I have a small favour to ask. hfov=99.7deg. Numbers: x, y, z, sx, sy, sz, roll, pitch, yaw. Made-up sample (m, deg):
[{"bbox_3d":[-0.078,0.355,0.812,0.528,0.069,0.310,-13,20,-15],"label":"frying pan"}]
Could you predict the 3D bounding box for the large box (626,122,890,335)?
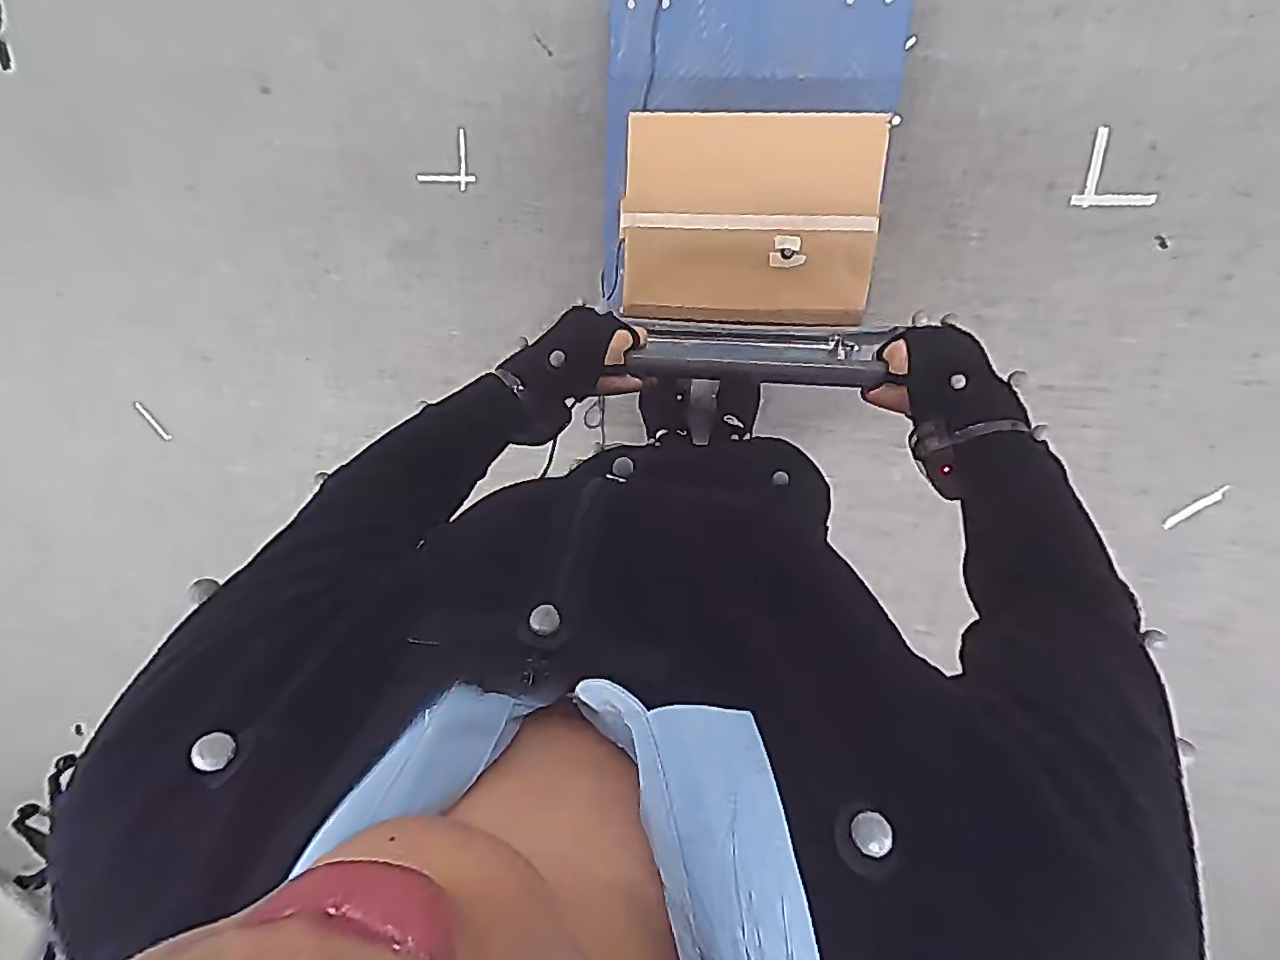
[{"bbox_3d":[0.190,-0.437,1.011,0.408,0.320,0.320,4,106,5],"label":"large box"}]
